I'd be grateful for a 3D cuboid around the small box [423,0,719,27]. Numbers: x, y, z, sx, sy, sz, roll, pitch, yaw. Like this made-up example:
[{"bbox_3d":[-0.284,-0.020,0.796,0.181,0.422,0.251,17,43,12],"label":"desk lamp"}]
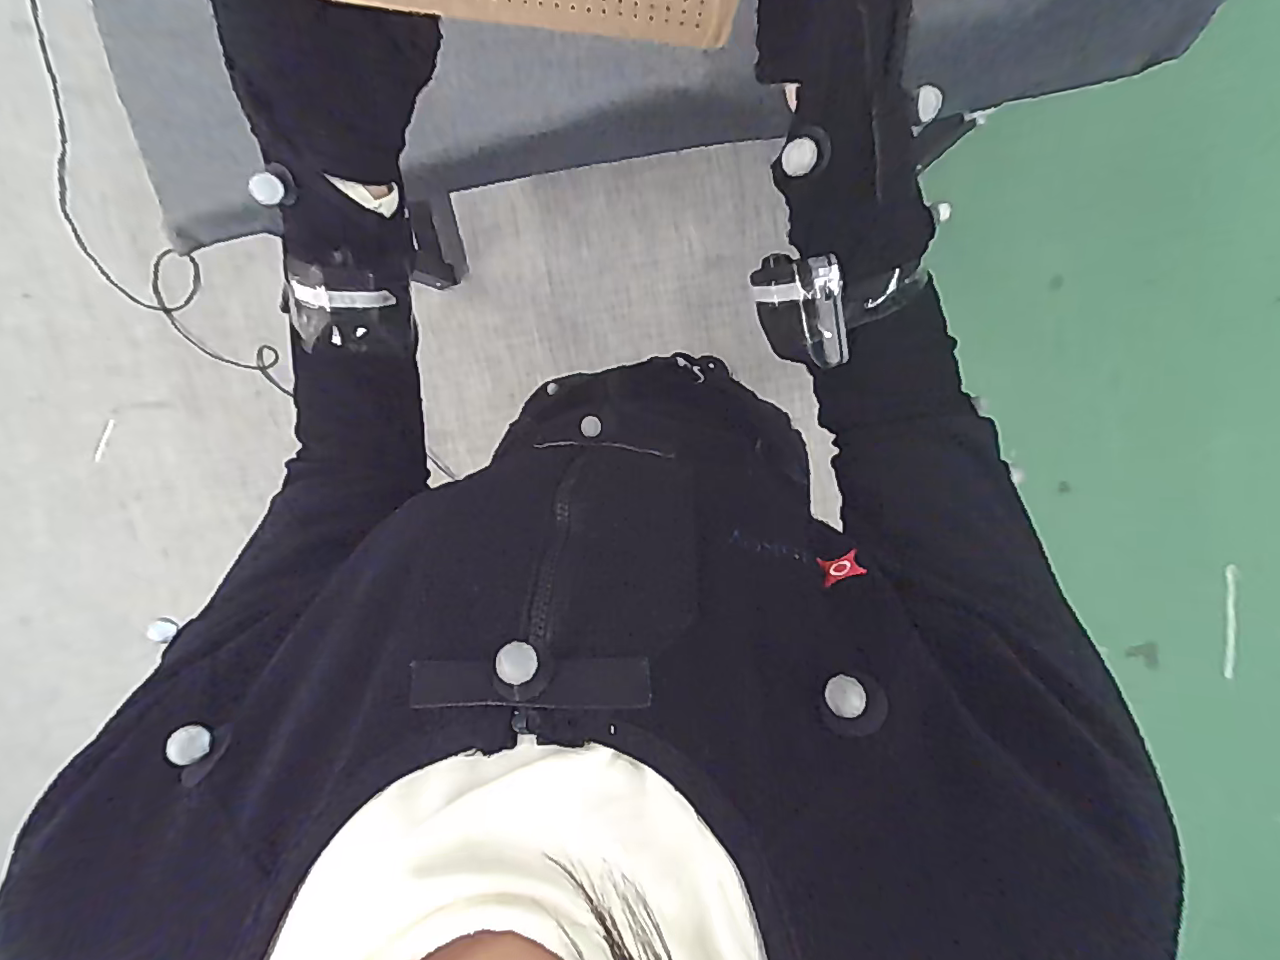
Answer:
[{"bbox_3d":[-0.042,-0.269,0.145,0.179,0.176,0.168,5,98,-2],"label":"small box"}]
